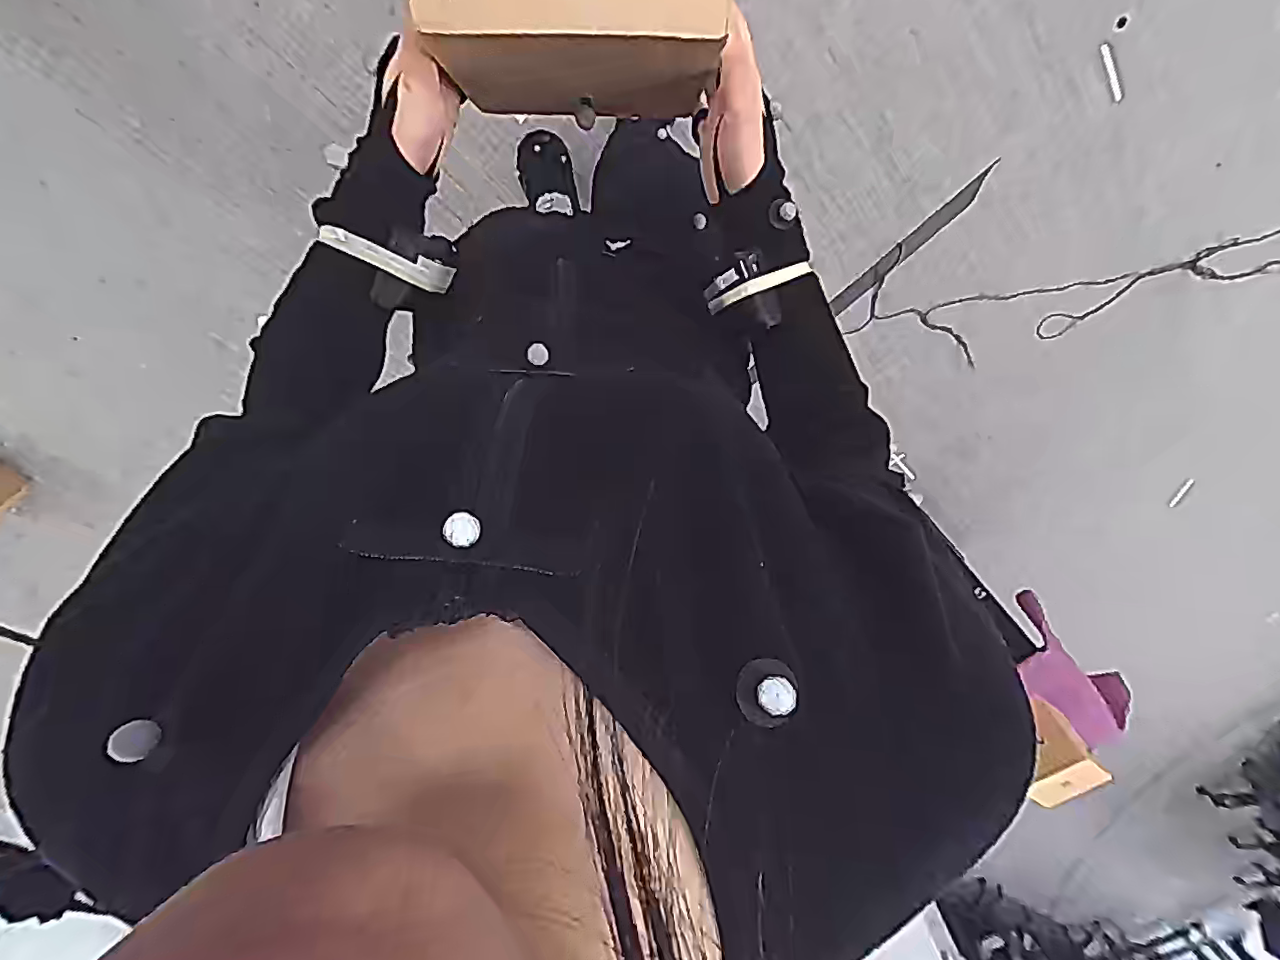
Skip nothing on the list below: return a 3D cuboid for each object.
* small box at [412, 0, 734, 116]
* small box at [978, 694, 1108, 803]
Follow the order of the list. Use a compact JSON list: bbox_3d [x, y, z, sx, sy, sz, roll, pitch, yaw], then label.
[{"bbox_3d":[-0.040,-0.350,0.342,0.179,0.176,0.168,-1,110,-4],"label":"small box"},{"bbox_3d":[0.985,0.659,1.336,0.179,0.176,0.168,34,114,-28],"label":"small box"}]
